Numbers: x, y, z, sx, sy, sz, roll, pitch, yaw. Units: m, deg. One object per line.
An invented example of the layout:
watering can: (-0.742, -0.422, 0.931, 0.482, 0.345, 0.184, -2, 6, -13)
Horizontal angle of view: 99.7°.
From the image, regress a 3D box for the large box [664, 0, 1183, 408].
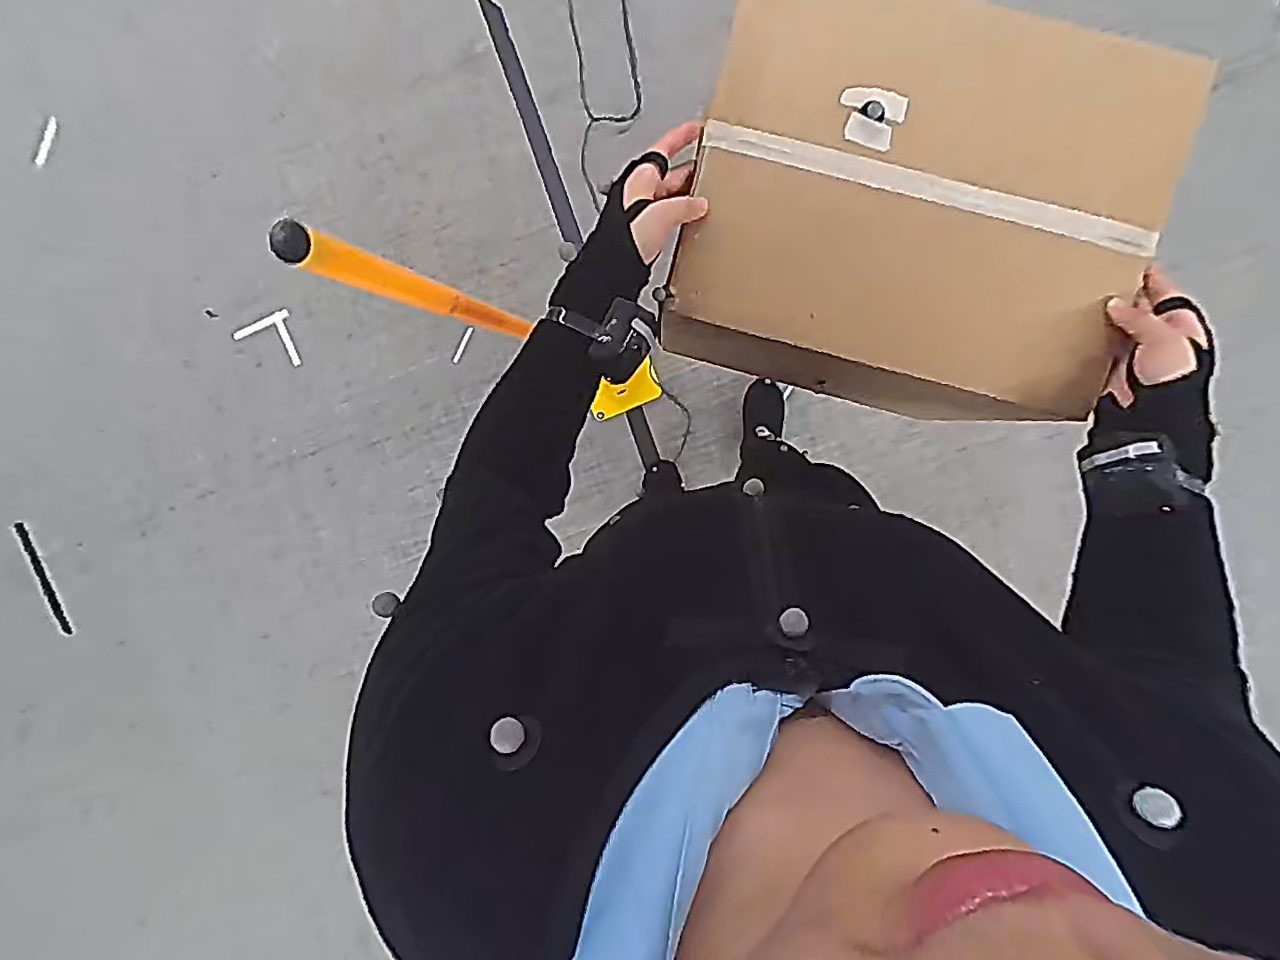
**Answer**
large box: (0.258, -0.278, 0.641, 0.408, 0.320, 0.320, 14, 95, 1)
